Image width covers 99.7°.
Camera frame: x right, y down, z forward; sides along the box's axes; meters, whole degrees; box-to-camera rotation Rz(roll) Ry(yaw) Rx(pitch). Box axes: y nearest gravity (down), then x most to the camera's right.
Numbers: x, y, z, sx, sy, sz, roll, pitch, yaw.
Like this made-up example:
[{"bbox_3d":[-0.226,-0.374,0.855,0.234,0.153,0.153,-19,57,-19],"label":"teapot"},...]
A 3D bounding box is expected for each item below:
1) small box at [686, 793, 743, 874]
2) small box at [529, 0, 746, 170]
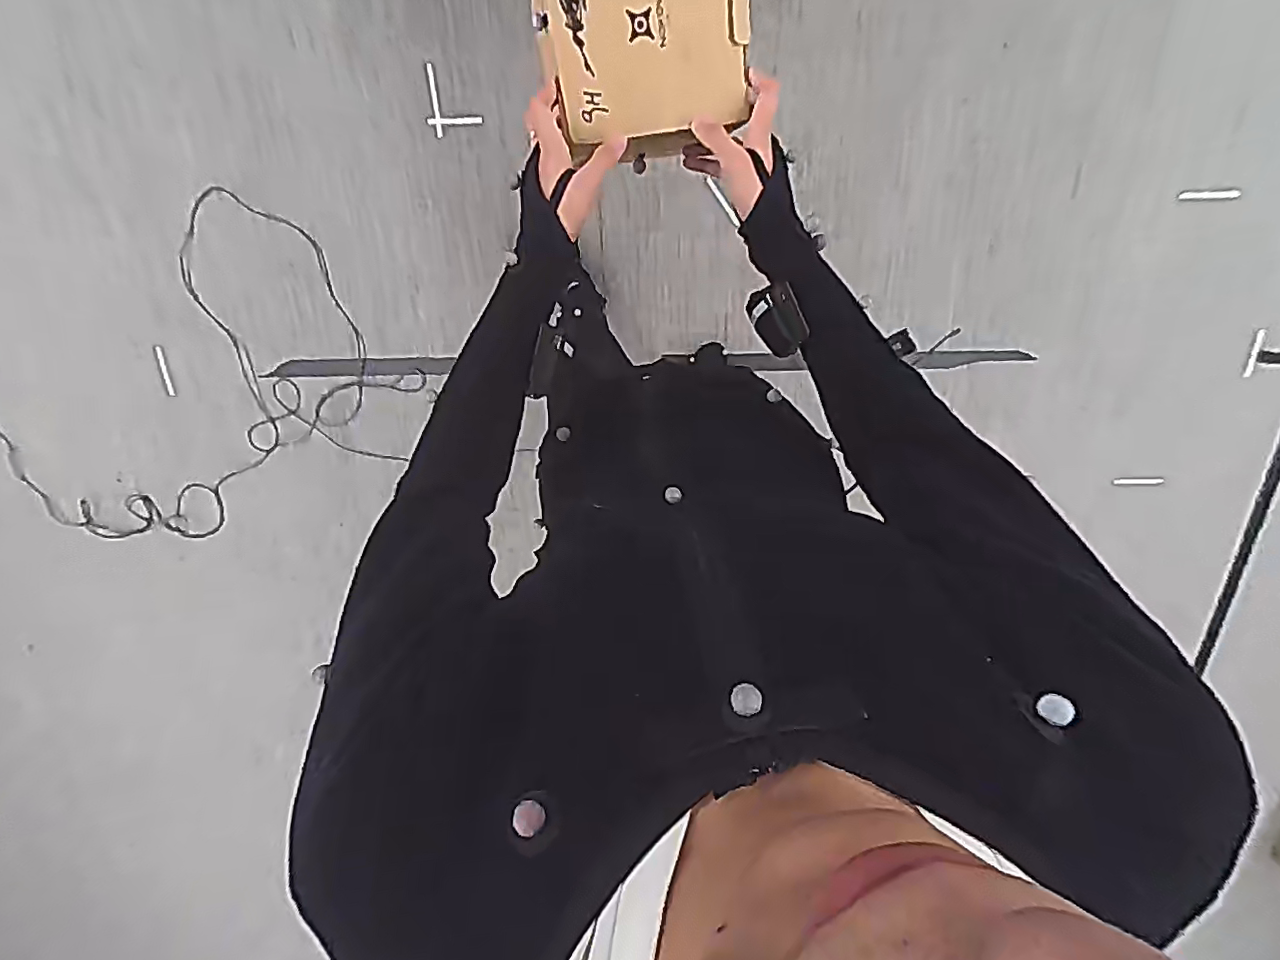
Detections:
[{"bbox_3d":[0.259,1.204,1.852,0.179,0.176,0.168,-7,110,1],"label":"small box"},{"bbox_3d":[-0.009,-0.425,0.545,0.179,0.176,0.168,-12,113,-7],"label":"small box"}]
